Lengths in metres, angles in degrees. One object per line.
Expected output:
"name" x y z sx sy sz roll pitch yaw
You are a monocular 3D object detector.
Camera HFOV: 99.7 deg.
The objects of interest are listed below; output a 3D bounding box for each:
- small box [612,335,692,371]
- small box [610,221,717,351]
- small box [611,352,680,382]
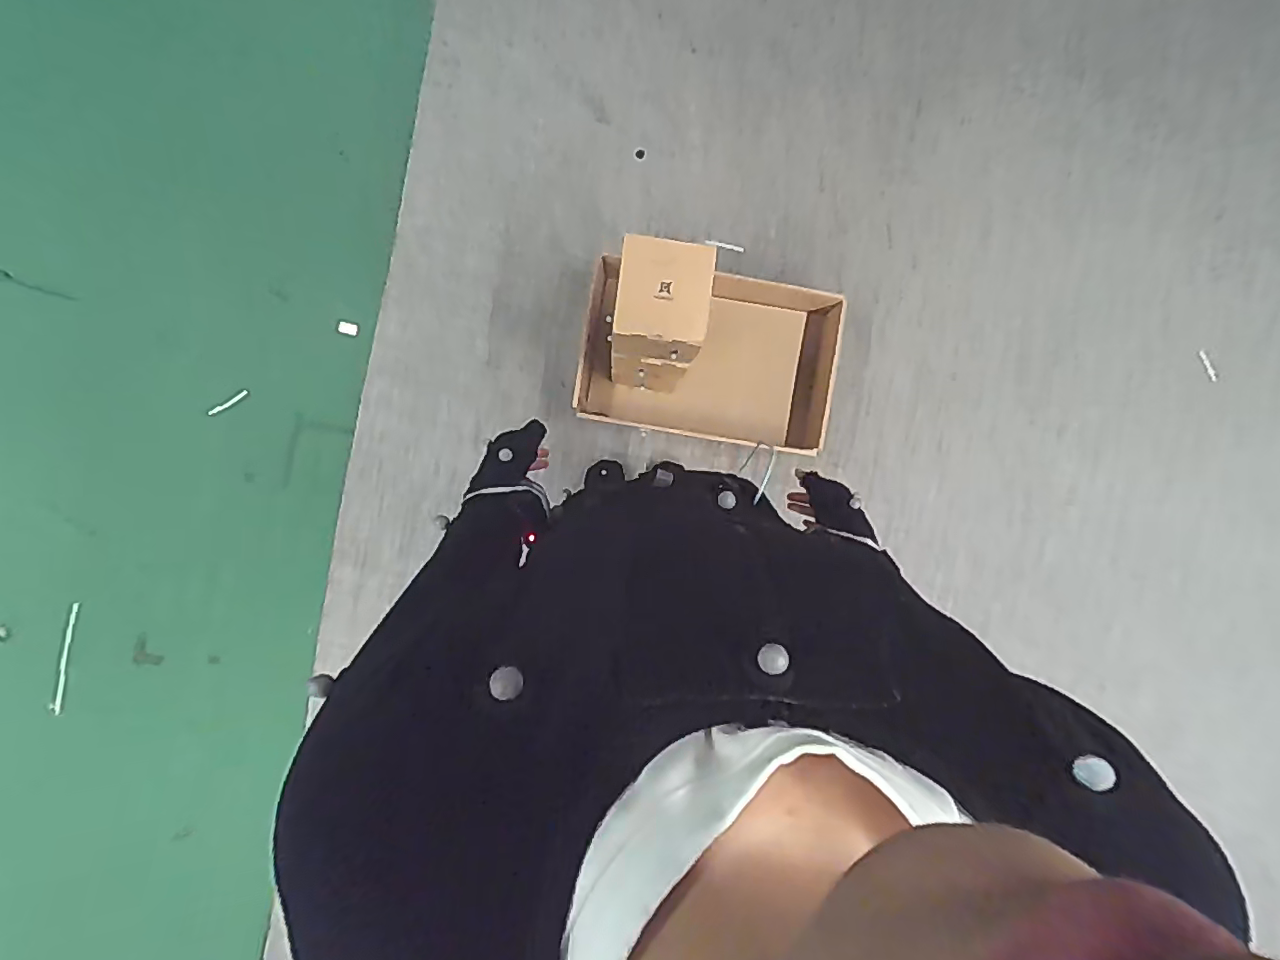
"small box" 0.031 -0.346 1.167 0.168 0.176 0.179 9 92 -3
"small box" 0.037 -0.347 1.004 0.168 0.176 0.179 7 92 -4
"small box" 0.022 -0.351 1.329 0.168 0.176 0.179 10 92 -3
